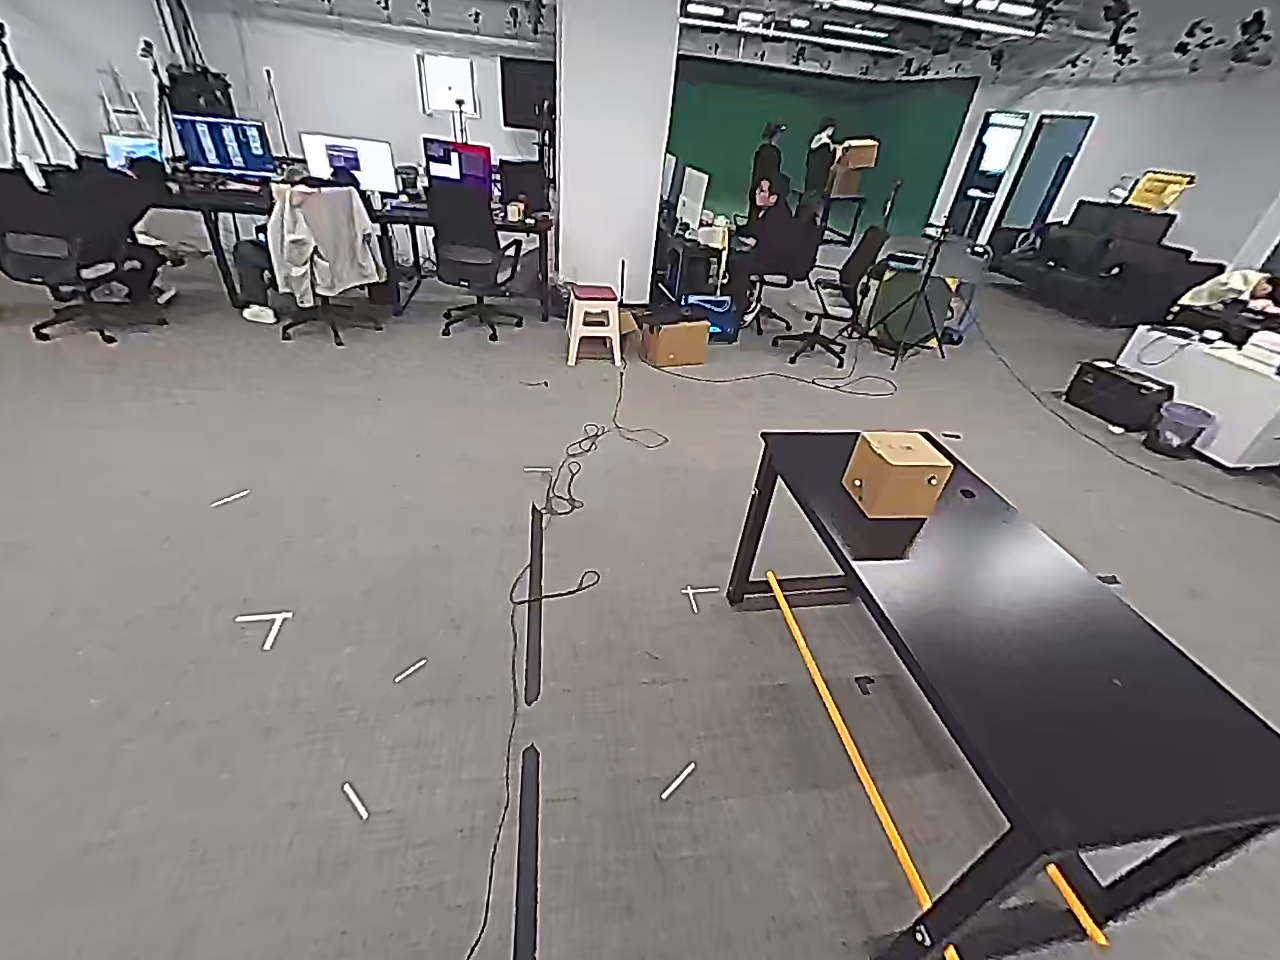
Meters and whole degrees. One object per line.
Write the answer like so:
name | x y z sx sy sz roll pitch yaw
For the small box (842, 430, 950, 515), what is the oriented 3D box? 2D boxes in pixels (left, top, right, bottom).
small box | 0.671 -0.018 1.441 0.179 0.176 0.168 0 34 -9
